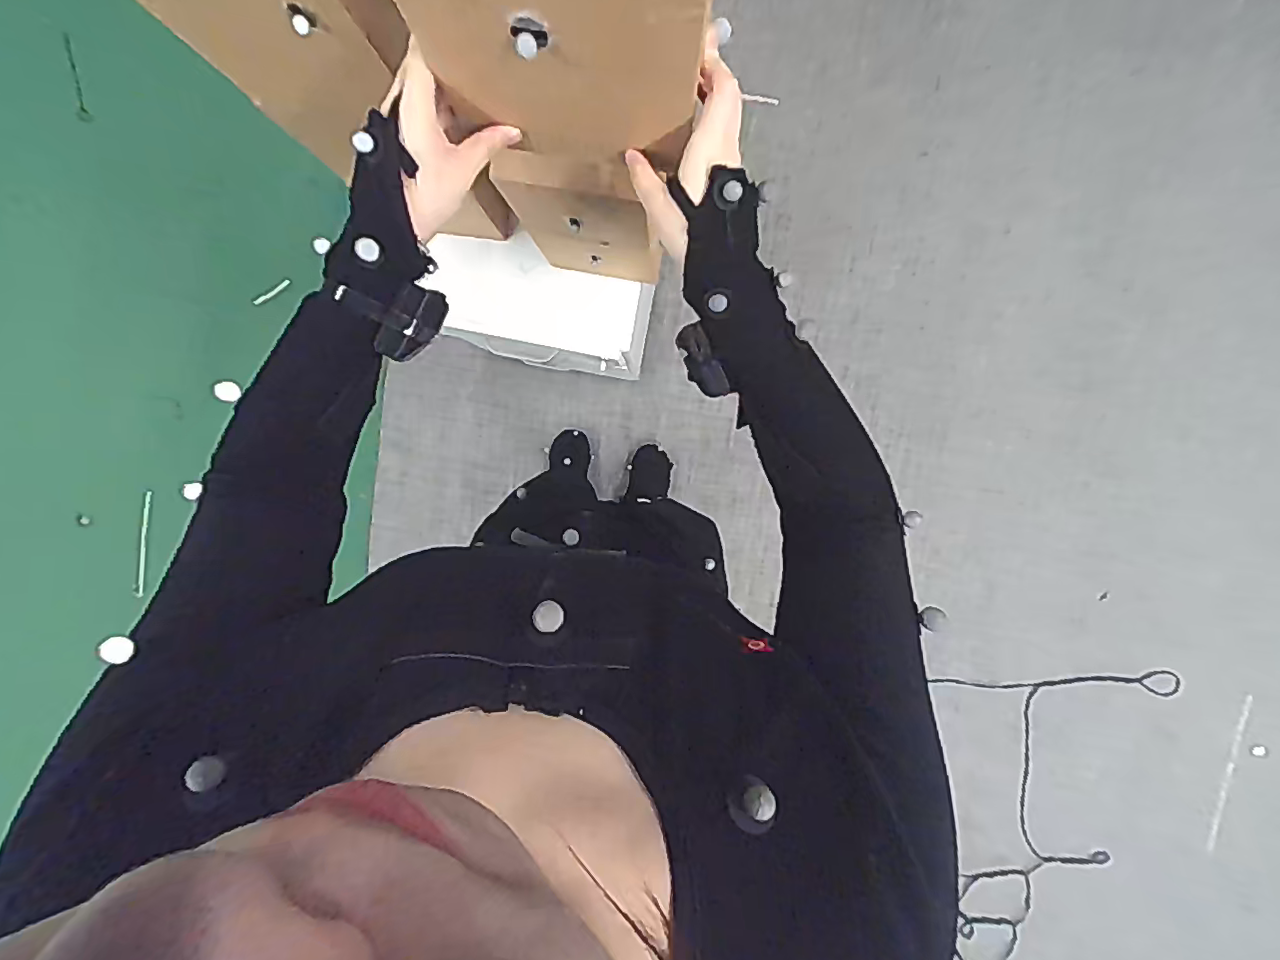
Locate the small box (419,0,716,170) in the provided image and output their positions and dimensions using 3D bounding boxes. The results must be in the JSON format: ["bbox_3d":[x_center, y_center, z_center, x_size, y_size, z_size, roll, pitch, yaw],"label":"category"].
[{"bbox_3d":[-0.036,-0.334,0.352,0.179,0.176,0.168,9,92,-1],"label":"small box"}]

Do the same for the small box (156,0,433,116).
[{"bbox_3d":[-0.292,-0.443,0.457,0.179,0.176,0.168,5,95,-1],"label":"small box"}]

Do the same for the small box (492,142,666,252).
[{"bbox_3d":[-0.054,-0.382,0.619,0.168,0.176,0.179,11,96,1],"label":"small box"}]

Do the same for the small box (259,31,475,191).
[{"bbox_3d":[-0.292,-0.454,0.619,0.179,0.176,0.168,5,95,0],"label":"small box"}]
